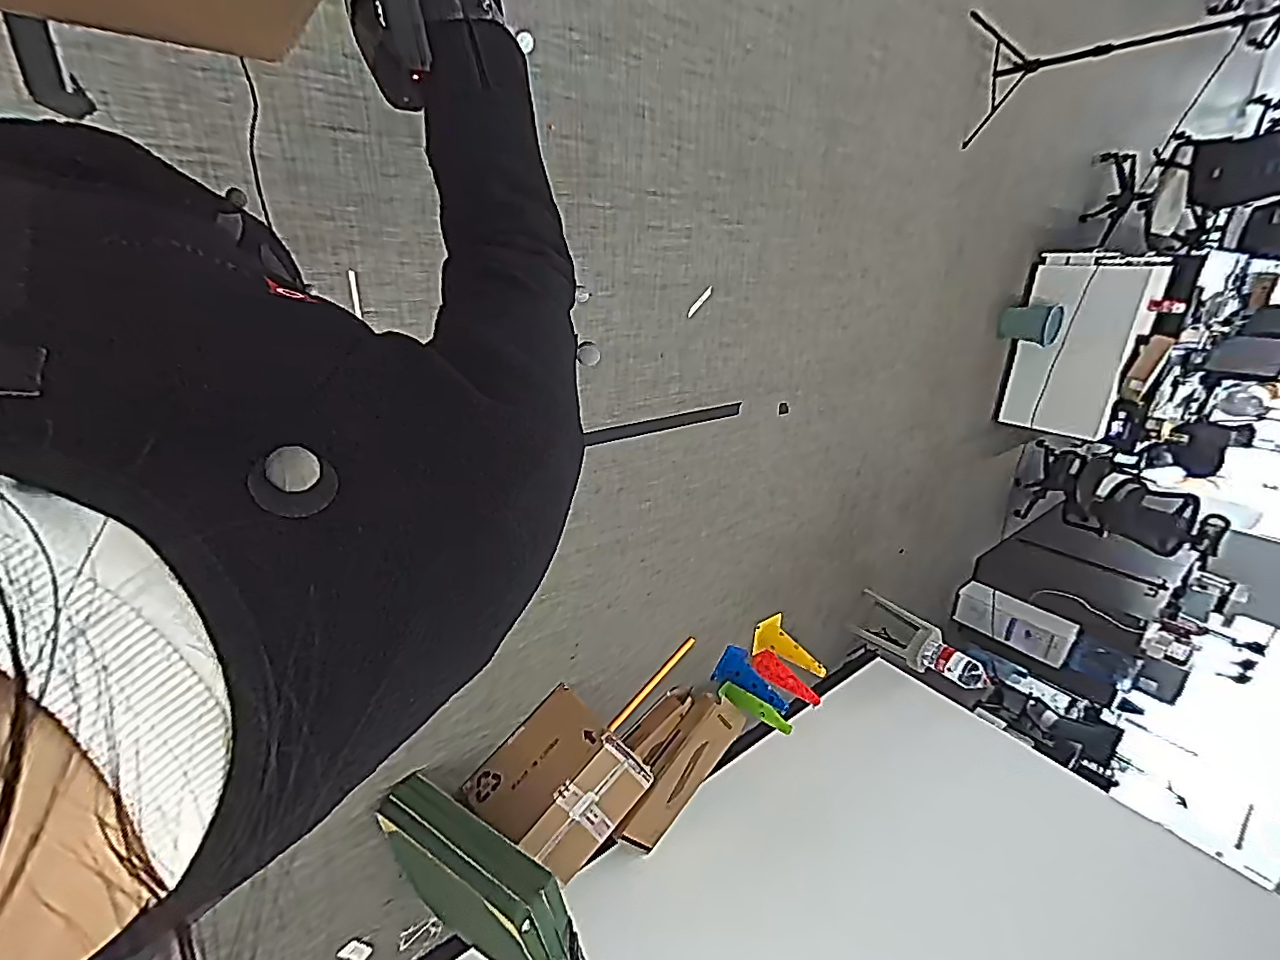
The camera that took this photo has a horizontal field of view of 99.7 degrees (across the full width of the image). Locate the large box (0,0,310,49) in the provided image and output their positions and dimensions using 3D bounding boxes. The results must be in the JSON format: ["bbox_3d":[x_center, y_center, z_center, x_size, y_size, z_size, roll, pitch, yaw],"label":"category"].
[{"bbox_3d":[-0.407,-0.449,0.240,0.408,0.320,0.320,-17,122,-35],"label":"large box"}]
